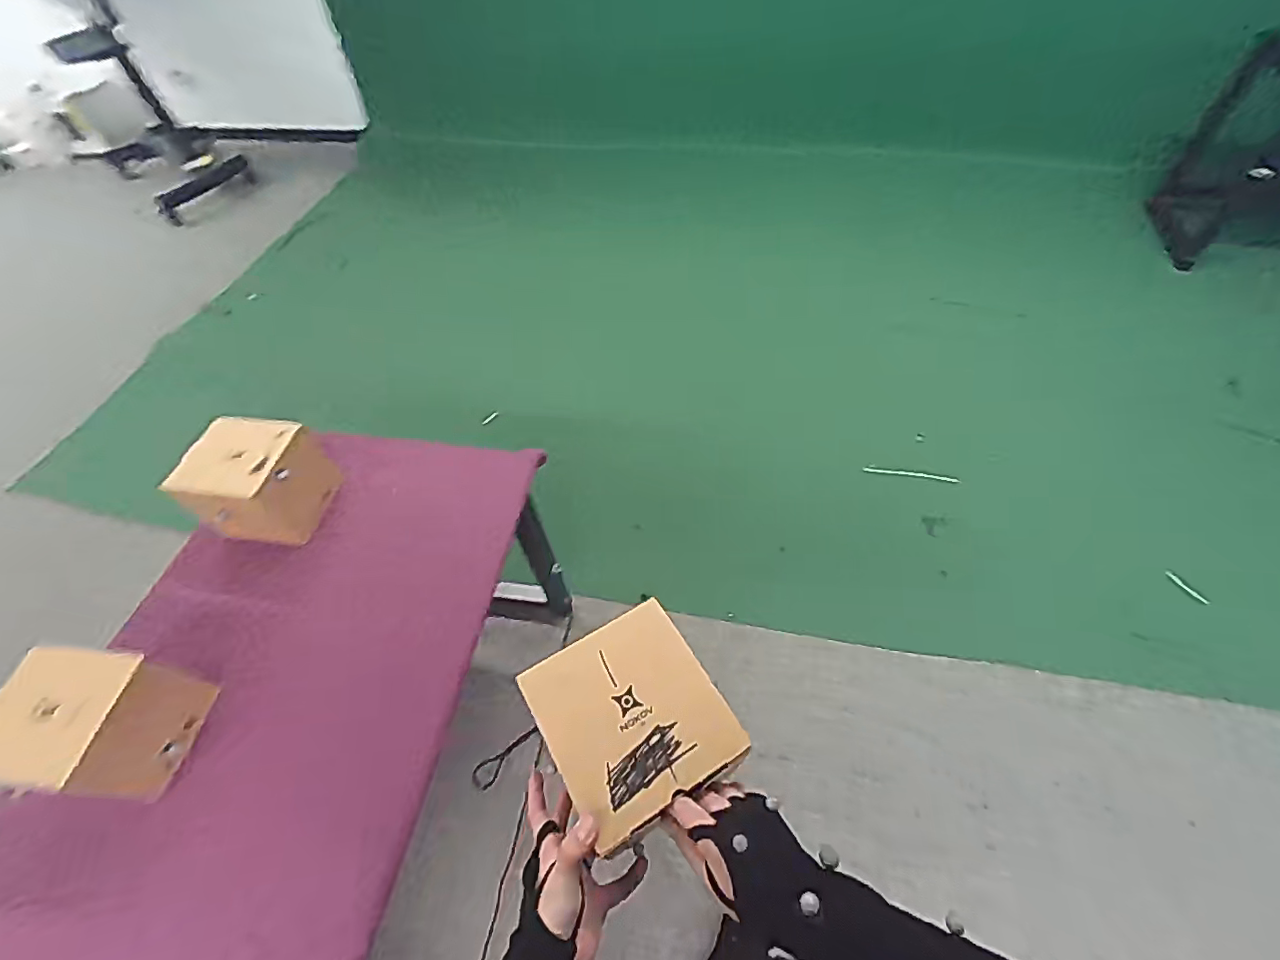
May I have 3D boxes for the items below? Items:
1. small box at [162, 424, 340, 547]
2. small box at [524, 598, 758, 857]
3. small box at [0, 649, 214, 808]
[{"bbox_3d":[-0.715,0.014,1.019,0.179,0.176,0.168,5,54,8],"label":"small box"},{"bbox_3d":[-0.001,0.263,0.575,0.168,0.176,0.179,-25,57,-17],"label":"small box"},{"bbox_3d":[-0.778,0.356,0.768,0.179,0.176,0.168,4,55,6],"label":"small box"}]
